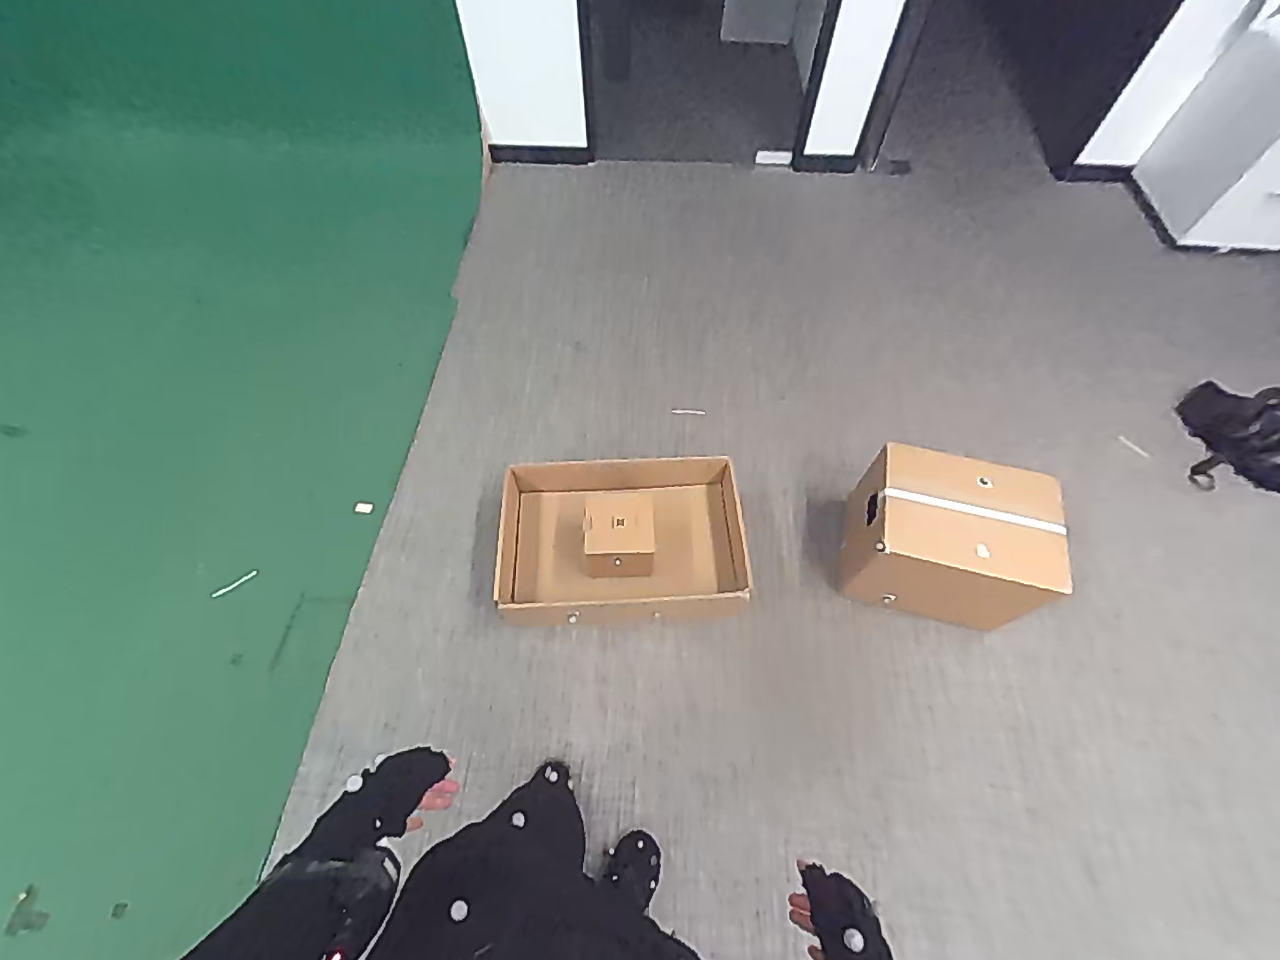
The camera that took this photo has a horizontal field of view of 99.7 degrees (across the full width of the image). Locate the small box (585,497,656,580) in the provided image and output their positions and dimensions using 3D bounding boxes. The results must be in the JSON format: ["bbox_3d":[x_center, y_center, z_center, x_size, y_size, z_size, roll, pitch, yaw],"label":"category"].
[{"bbox_3d":[-0.051,0.157,1.420,0.179,0.176,0.168,-1,59,-3],"label":"small box"}]
